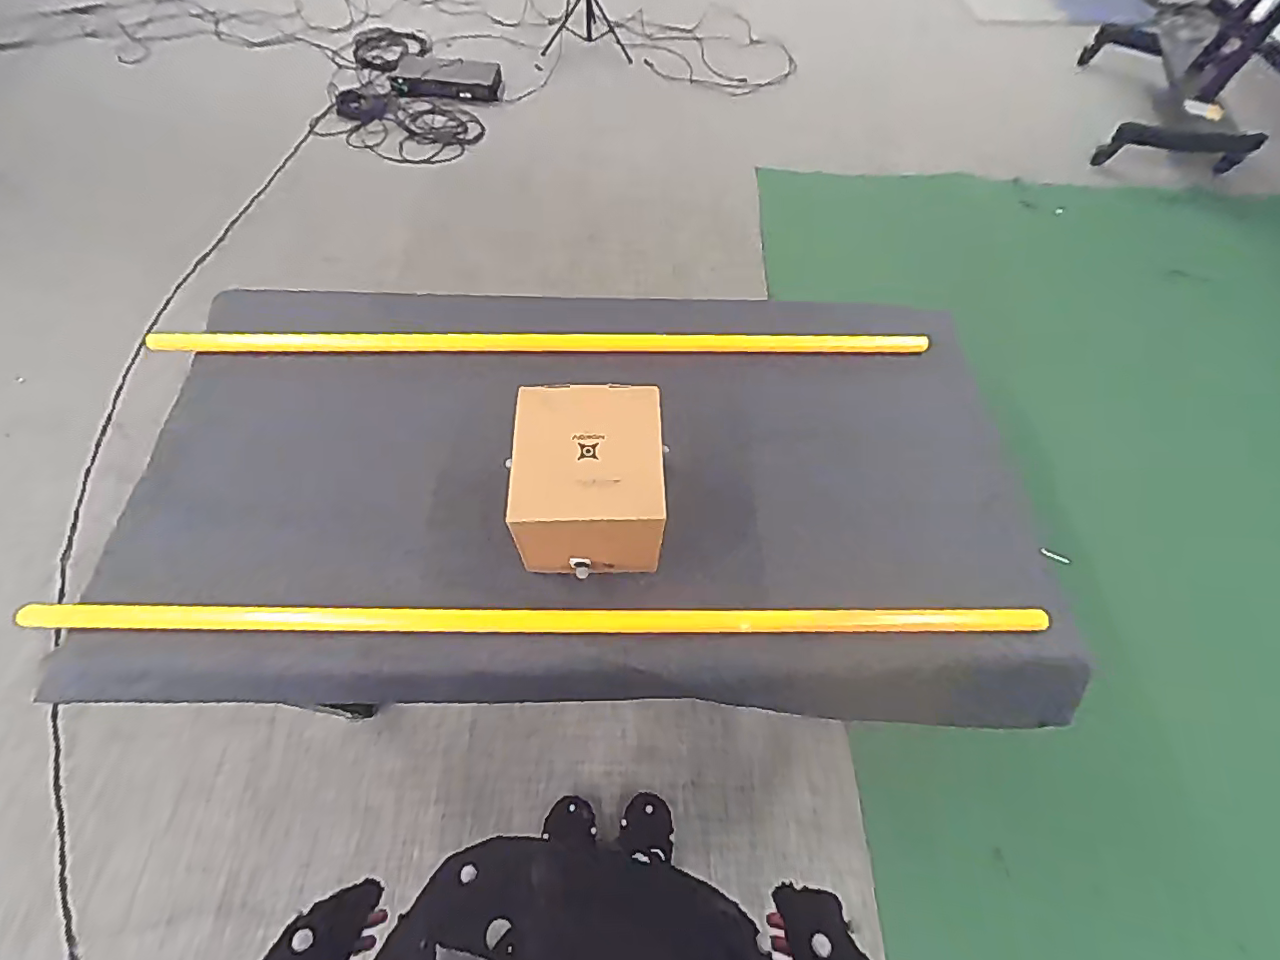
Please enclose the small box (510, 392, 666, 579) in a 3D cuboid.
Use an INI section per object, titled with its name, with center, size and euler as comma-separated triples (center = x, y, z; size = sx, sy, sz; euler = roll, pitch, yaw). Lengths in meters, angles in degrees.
[small box]
center = -0.059, 0.011, 0.669
size = 0.168, 0.176, 0.179
euler = -2, 62, -2
